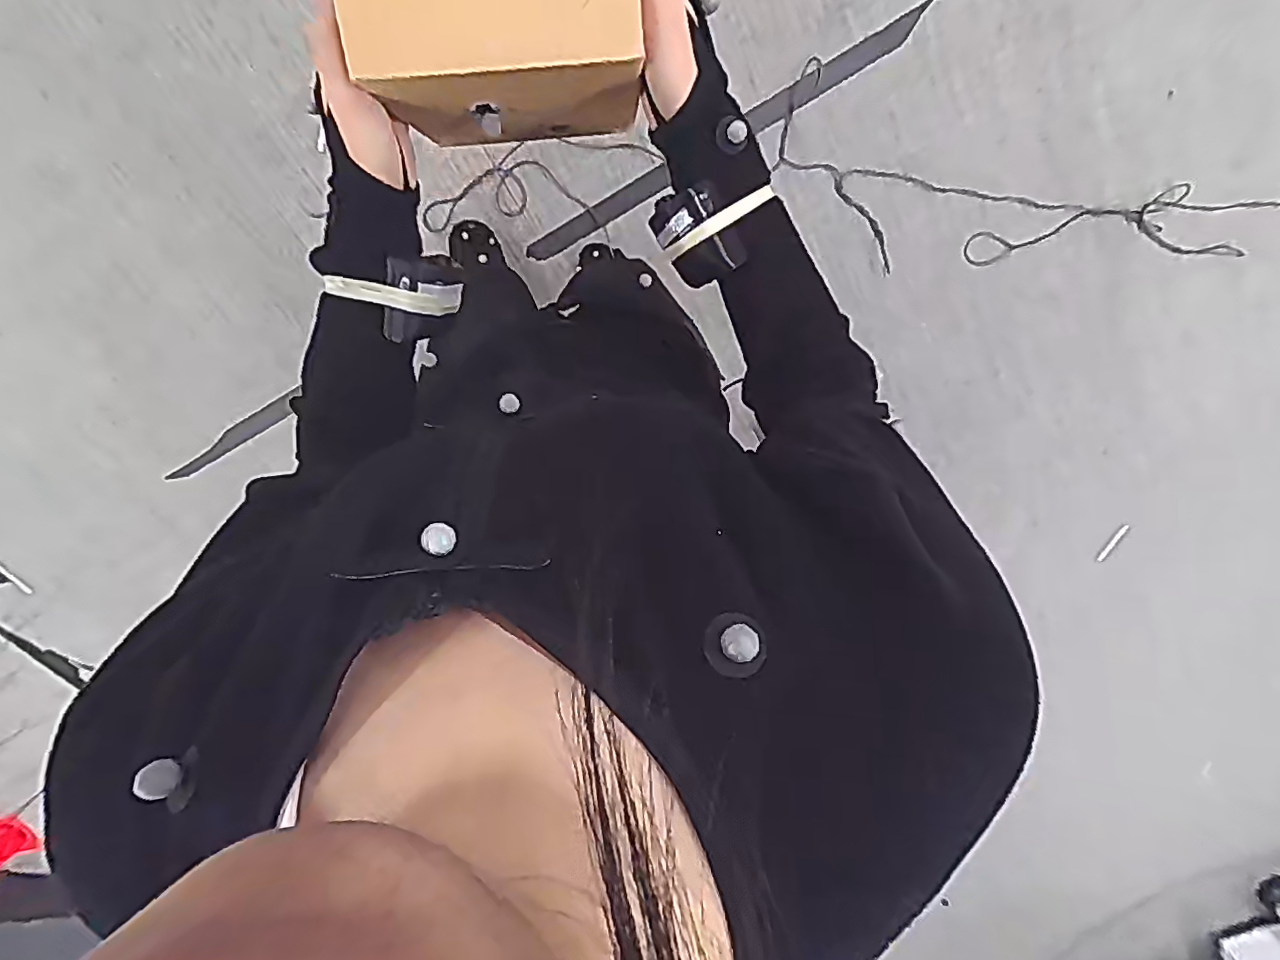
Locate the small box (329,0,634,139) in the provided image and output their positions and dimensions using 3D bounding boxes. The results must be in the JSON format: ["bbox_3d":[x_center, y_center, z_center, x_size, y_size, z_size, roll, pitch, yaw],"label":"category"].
[{"bbox_3d":[-0.090,-0.336,0.347,0.168,0.176,0.179,-5,109,-1],"label":"small box"}]
